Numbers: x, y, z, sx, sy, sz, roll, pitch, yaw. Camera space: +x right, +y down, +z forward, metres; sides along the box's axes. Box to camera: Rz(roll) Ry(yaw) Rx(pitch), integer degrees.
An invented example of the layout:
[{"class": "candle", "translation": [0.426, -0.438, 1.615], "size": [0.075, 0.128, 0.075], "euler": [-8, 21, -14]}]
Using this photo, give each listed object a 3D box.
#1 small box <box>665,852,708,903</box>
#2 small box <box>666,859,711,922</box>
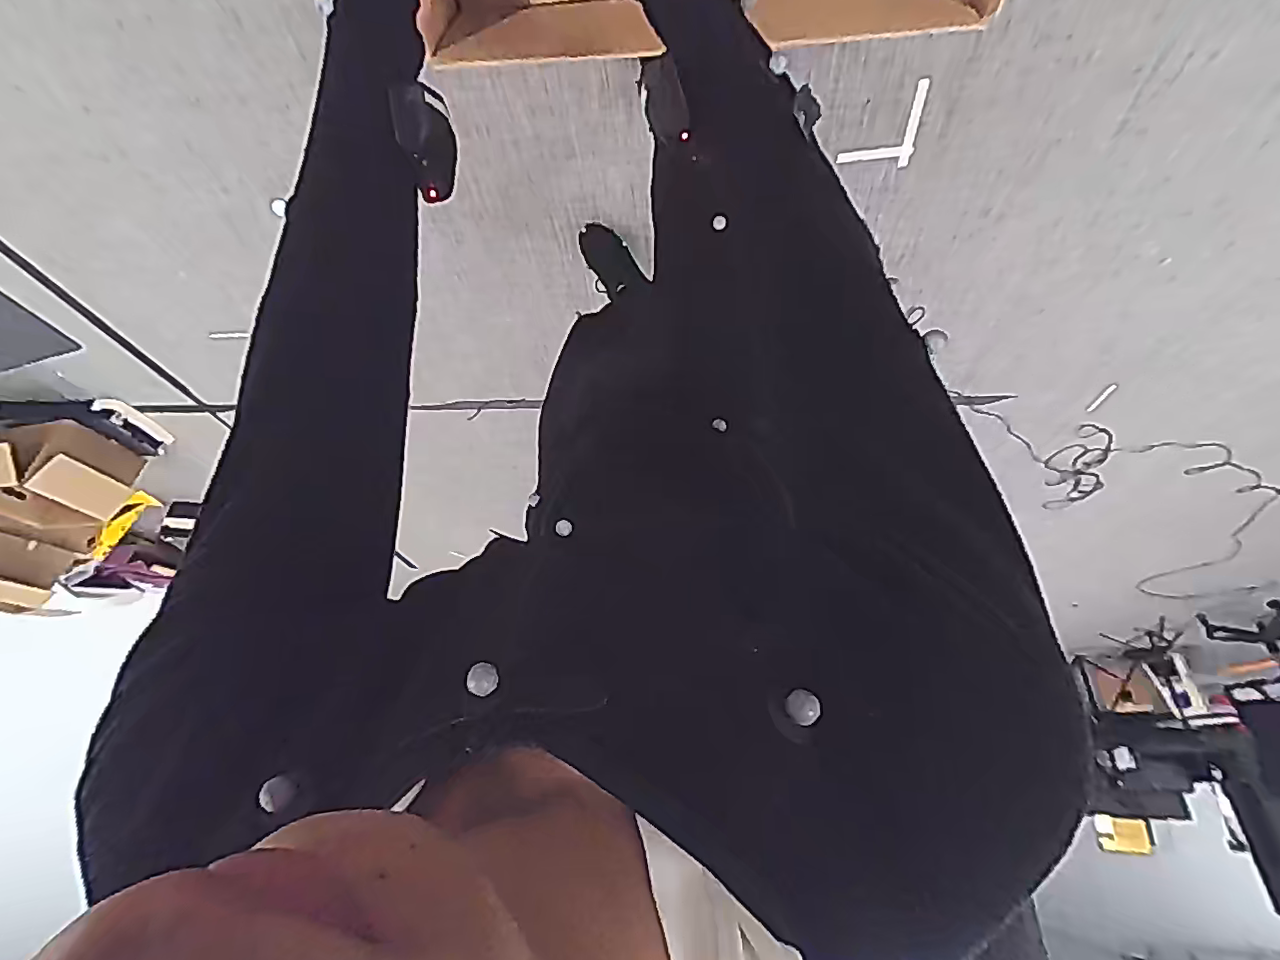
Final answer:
[{"class": "small box", "translation": [0.198, 1.706, 2.313], "size": [0.179, 0.176, 0.168], "euler": [1, 151, 5]}, {"class": "small box", "translation": [0.187, 1.582, 2.095], "size": [0.168, 0.176, 0.179], "euler": [0, 151, 5]}]
